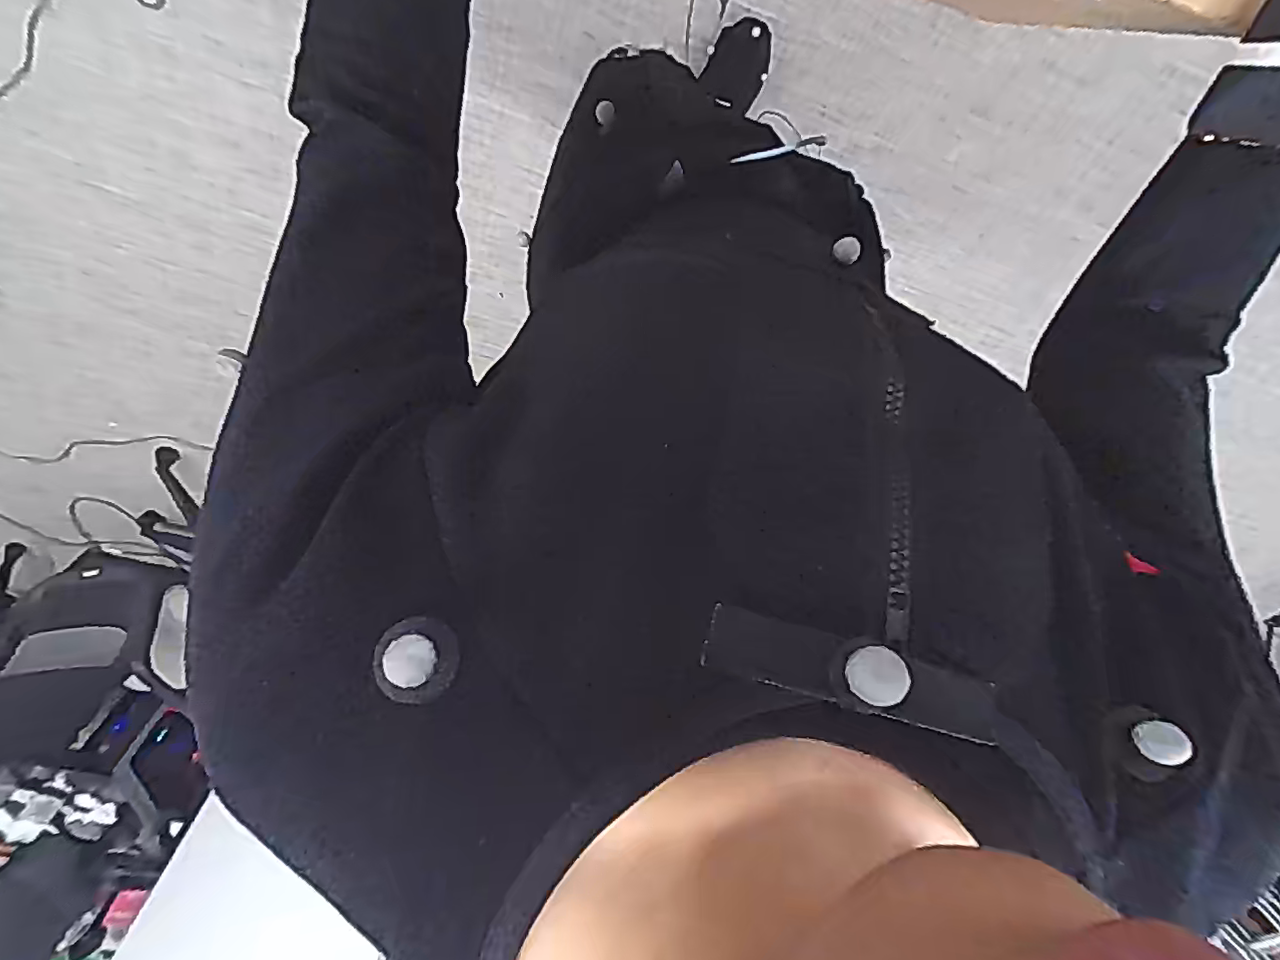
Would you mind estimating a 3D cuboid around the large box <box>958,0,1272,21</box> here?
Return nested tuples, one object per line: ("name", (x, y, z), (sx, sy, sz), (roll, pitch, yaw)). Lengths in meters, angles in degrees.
("large box", (0.176, -0.490, 0.273), (0.408, 0.320, 0.320), (11, 132, -9))
